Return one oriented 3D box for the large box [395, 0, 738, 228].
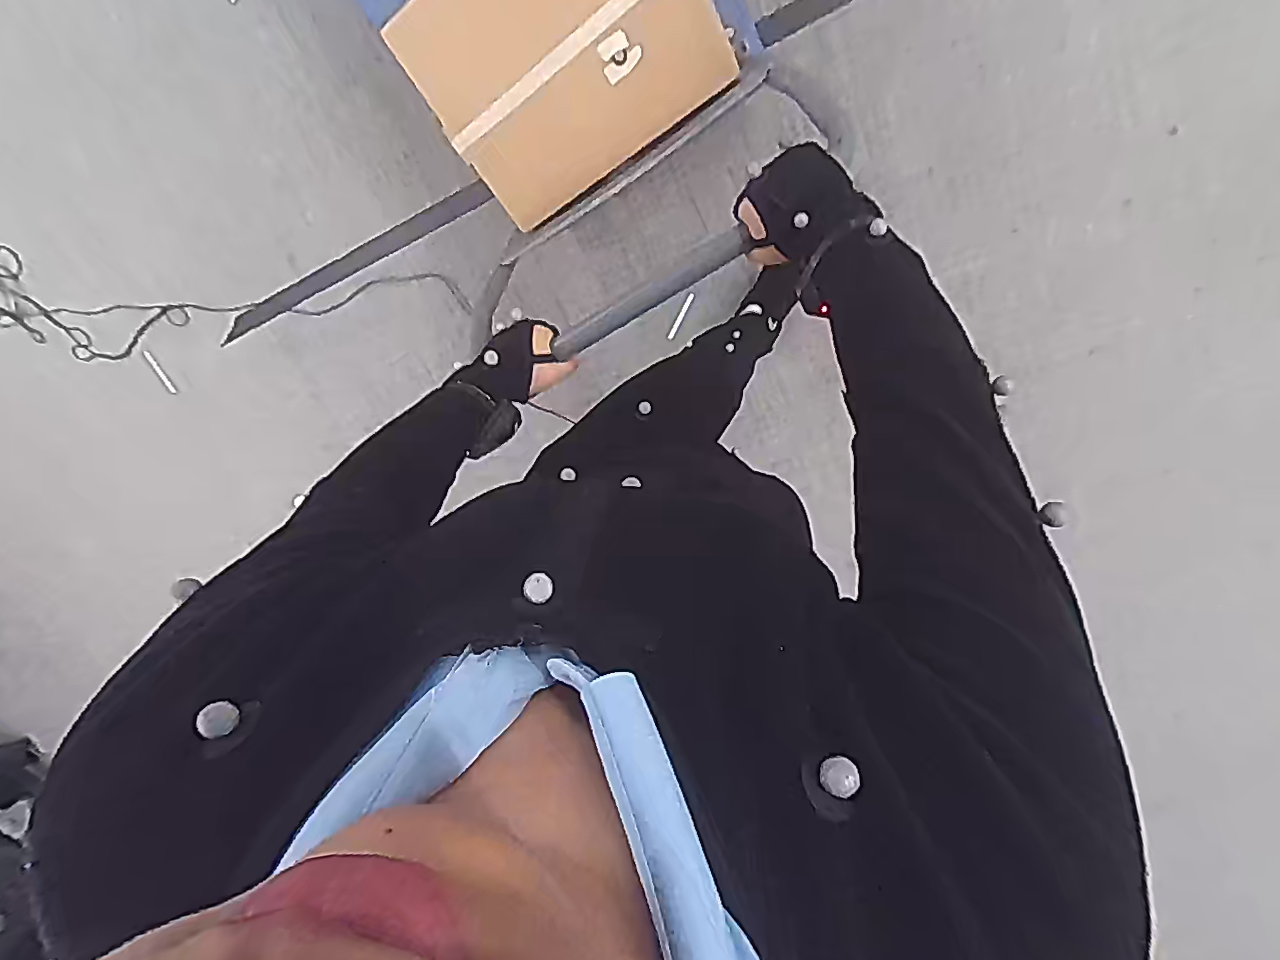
[{"bbox_3d":[-0.102,-0.697,0.887,0.408,0.320,0.320,-27,123,20],"label":"large box"}]
